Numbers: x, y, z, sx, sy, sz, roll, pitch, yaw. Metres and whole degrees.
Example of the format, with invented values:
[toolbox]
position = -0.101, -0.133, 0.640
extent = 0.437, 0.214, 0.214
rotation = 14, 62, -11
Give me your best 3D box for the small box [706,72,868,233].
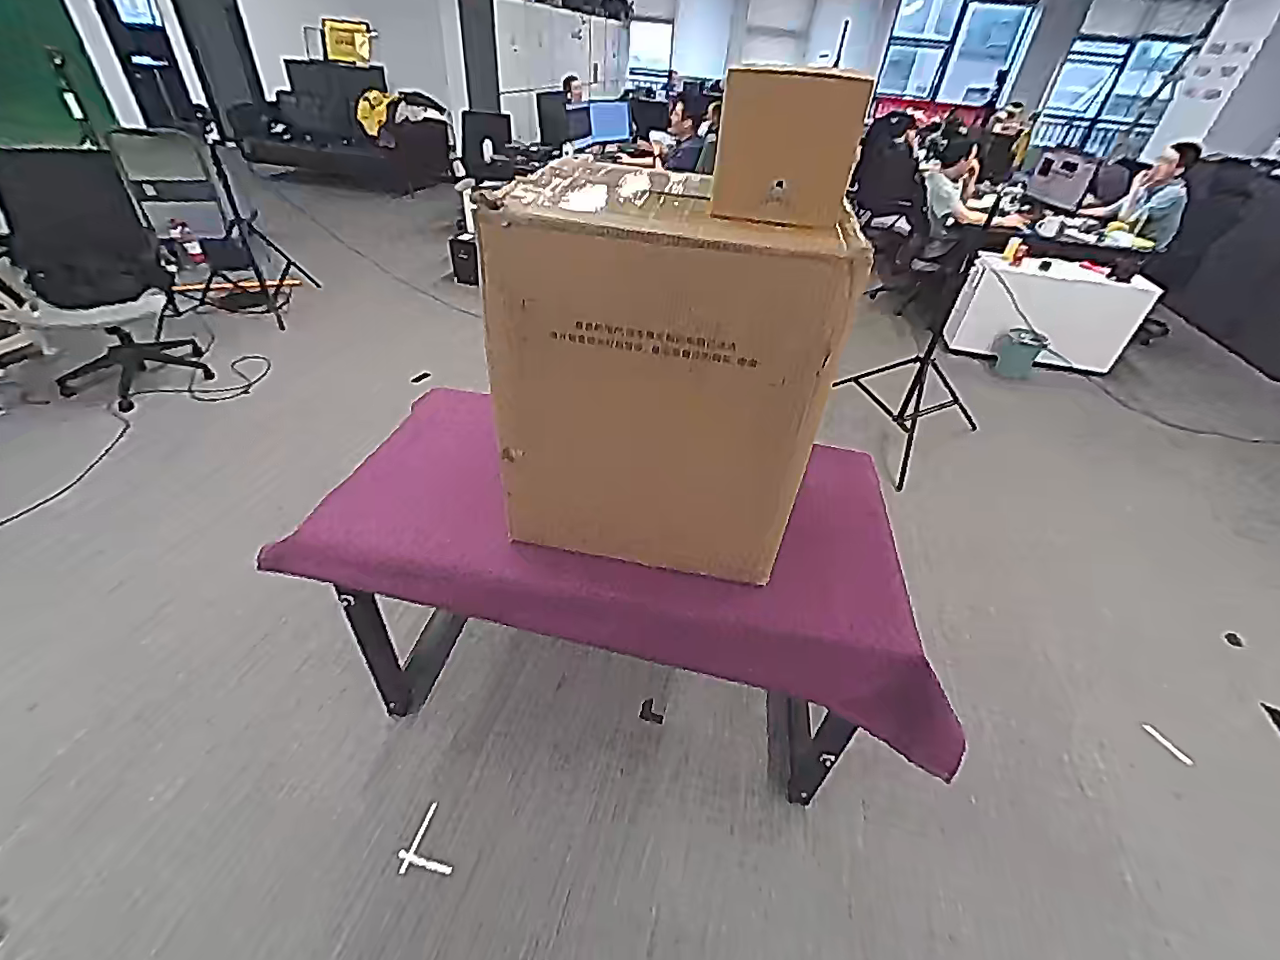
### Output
[small box]
position = 0.199, -0.460, 0.763
extent = 0.179, 0.176, 0.168
rotation = 10, 39, 7
